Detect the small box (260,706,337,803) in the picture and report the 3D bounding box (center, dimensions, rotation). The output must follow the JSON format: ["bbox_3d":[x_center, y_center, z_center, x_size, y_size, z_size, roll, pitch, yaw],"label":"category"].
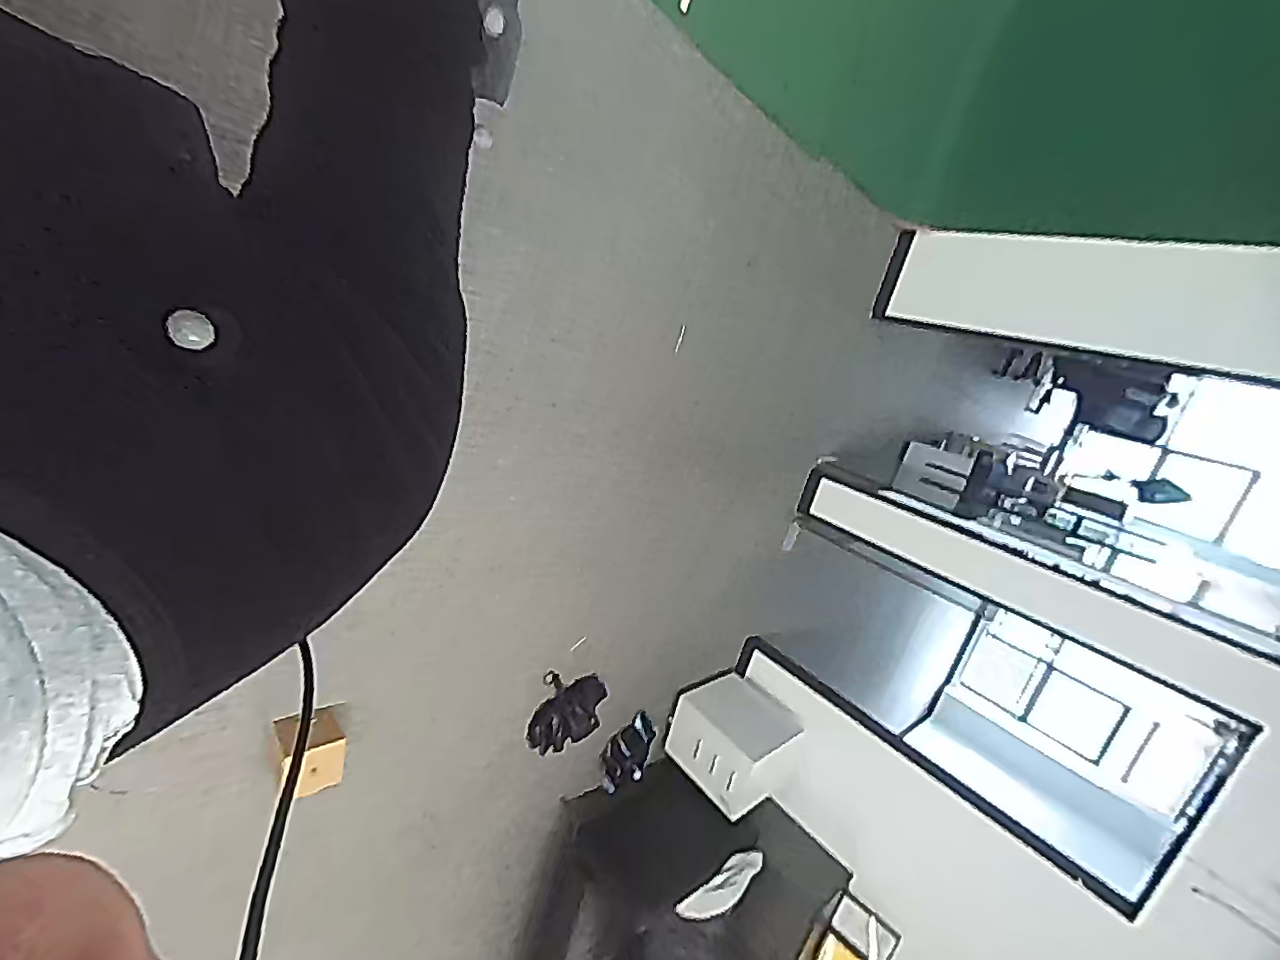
[{"bbox_3d":[-1.059,0.841,1.674,0.168,0.176,0.179,-3,113,-46],"label":"small box"}]
